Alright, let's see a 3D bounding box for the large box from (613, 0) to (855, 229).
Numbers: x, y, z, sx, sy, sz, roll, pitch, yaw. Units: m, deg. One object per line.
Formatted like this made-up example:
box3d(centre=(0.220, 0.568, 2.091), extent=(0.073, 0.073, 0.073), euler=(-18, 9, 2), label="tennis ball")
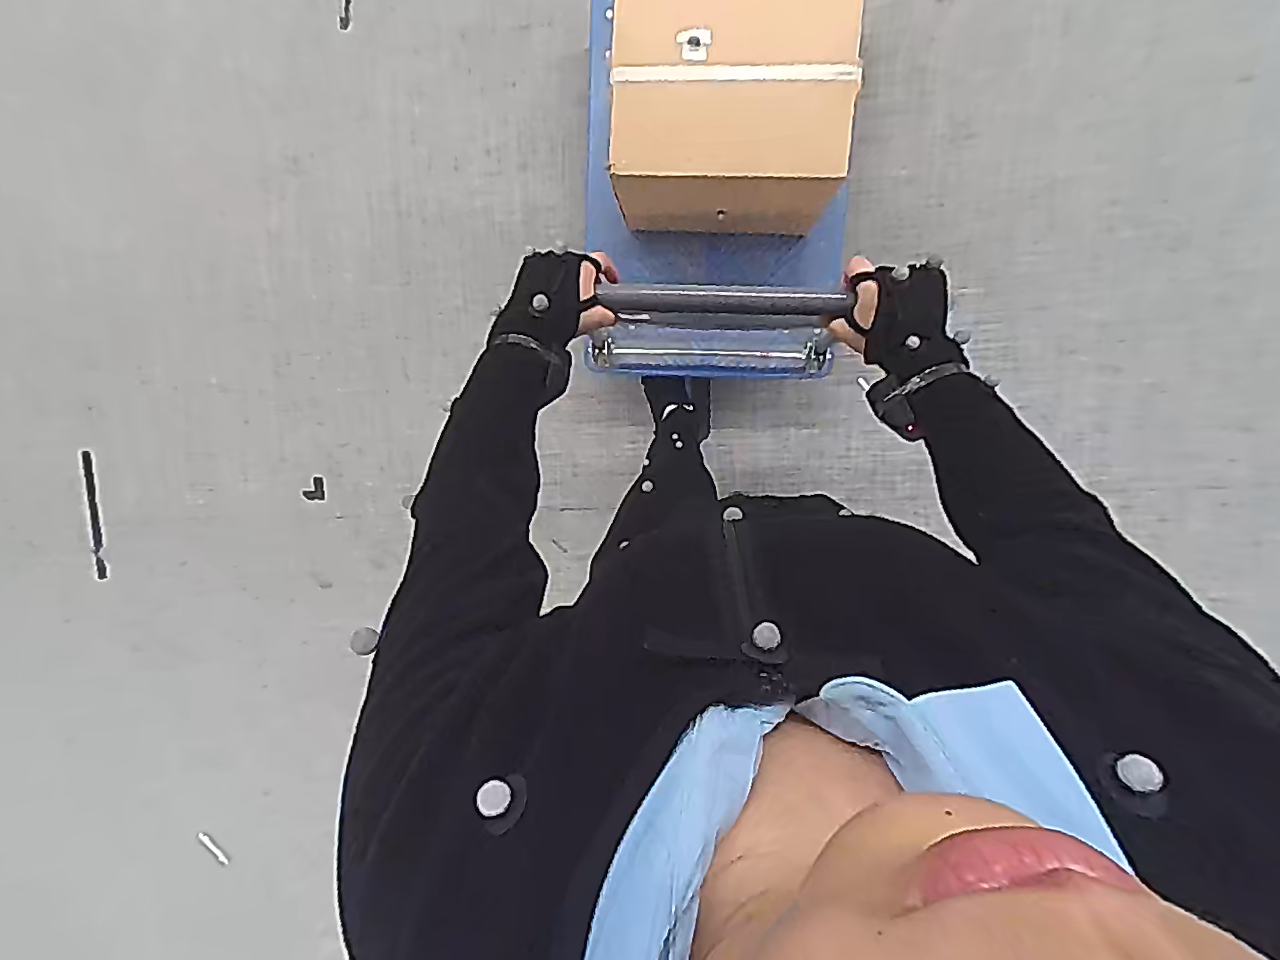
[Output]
box3d(centre=(0.171, -0.701, 1.066), extent=(0.408, 0.320, 0.320), euler=(3, 97, 6), label="large box")
